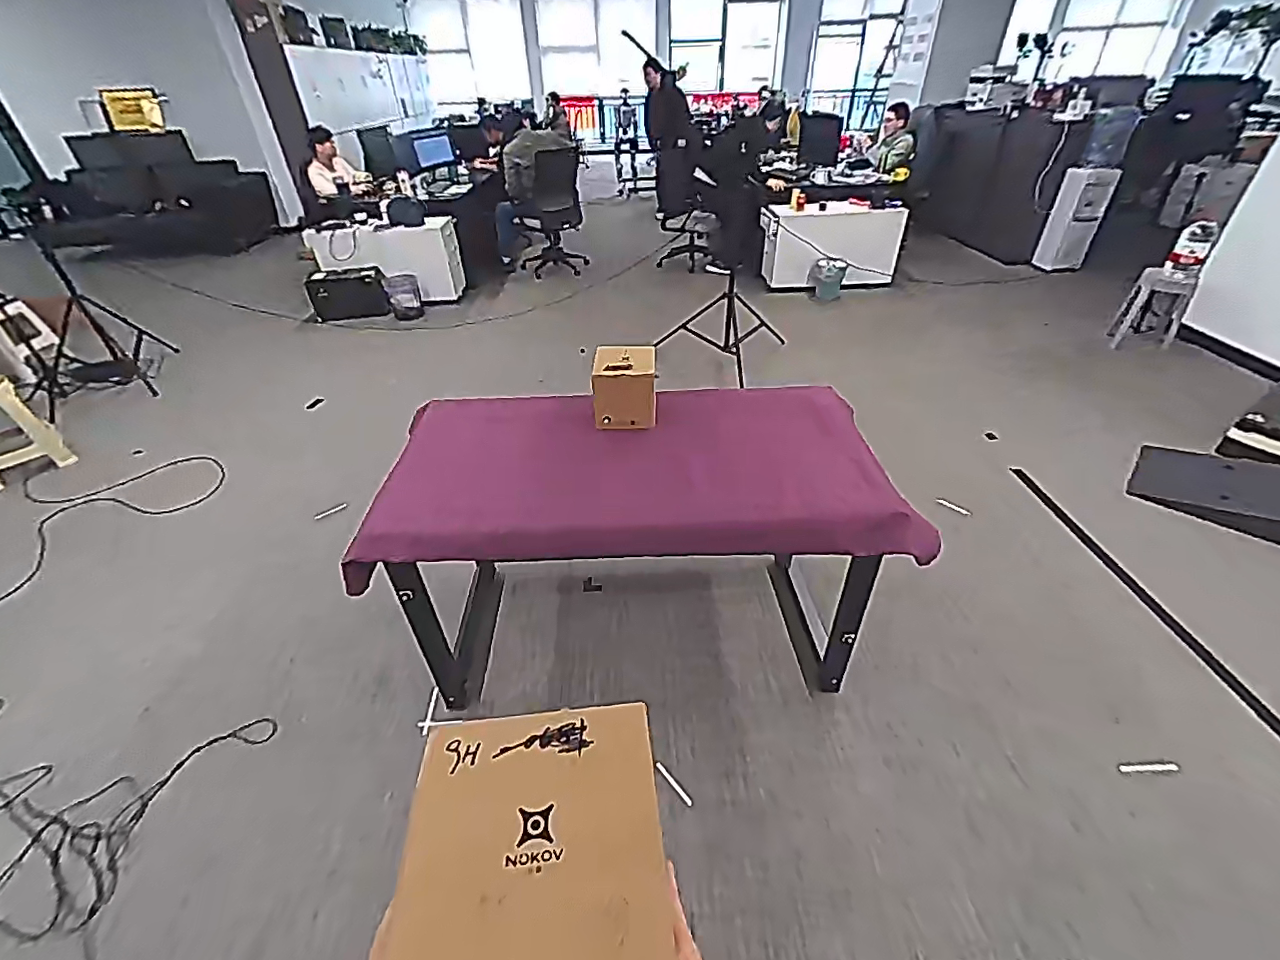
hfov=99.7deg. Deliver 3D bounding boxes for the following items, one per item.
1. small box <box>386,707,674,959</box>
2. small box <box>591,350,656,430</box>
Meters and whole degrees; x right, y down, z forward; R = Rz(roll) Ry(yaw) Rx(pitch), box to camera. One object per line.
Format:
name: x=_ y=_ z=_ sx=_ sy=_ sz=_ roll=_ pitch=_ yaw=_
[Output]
small box: x=-0.064 y=0.299 z=0.396 sx=0.168 sy=0.176 sz=0.179 roll=-5 pitch=37 yaw=-4
small box: x=-0.040 y=-0.251 z=1.517 sx=0.168 sy=0.176 sz=0.179 roll=0 pitch=38 yaw=2
